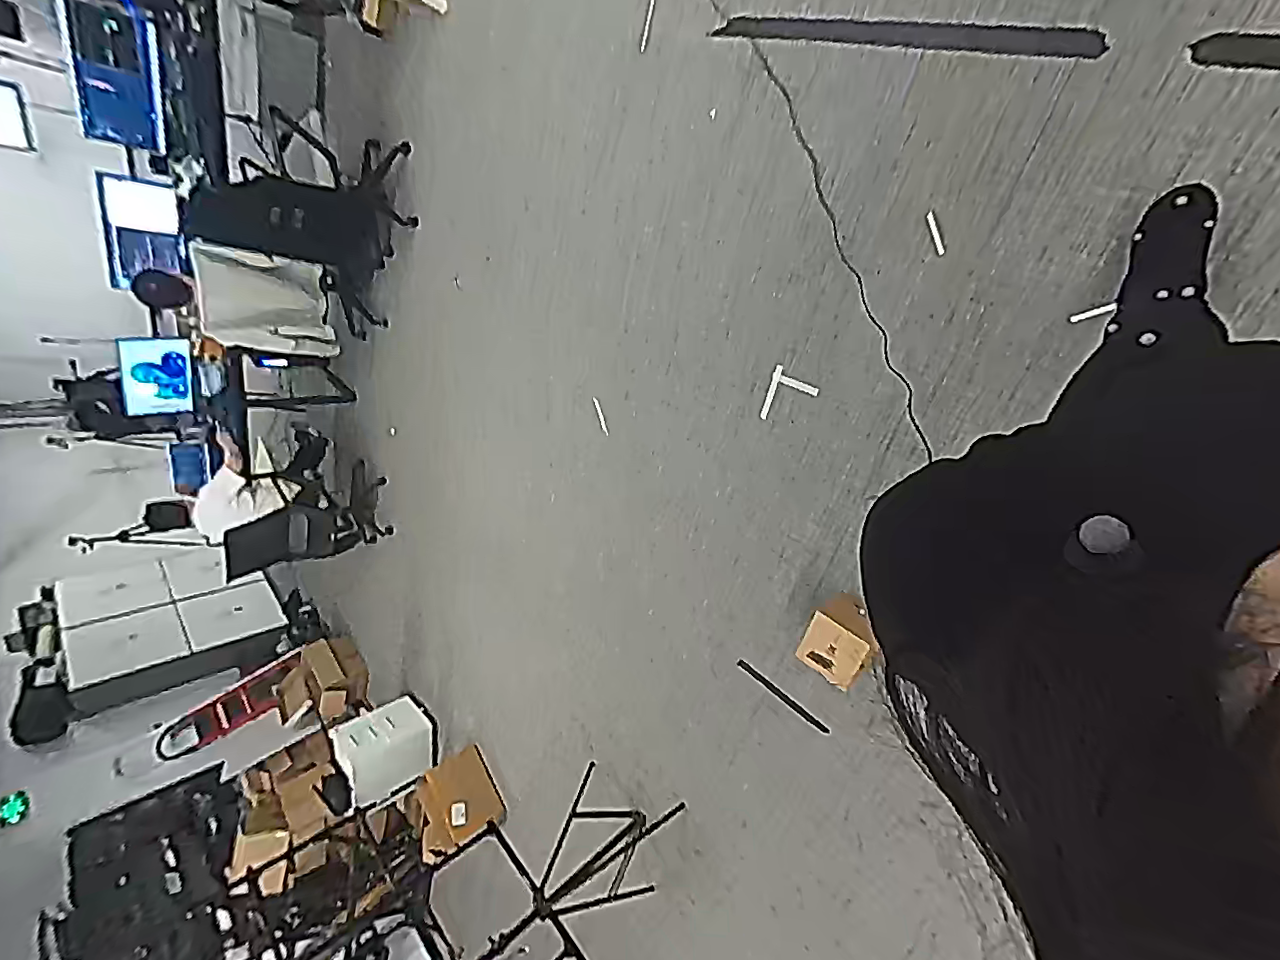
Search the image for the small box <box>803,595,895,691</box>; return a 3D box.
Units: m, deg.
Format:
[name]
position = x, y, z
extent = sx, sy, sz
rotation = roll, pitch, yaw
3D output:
[small box]
position = 0.606, 0.463, 1.560
extent = 0.168, 0.176, 0.179
rotation = 33, 120, 34
